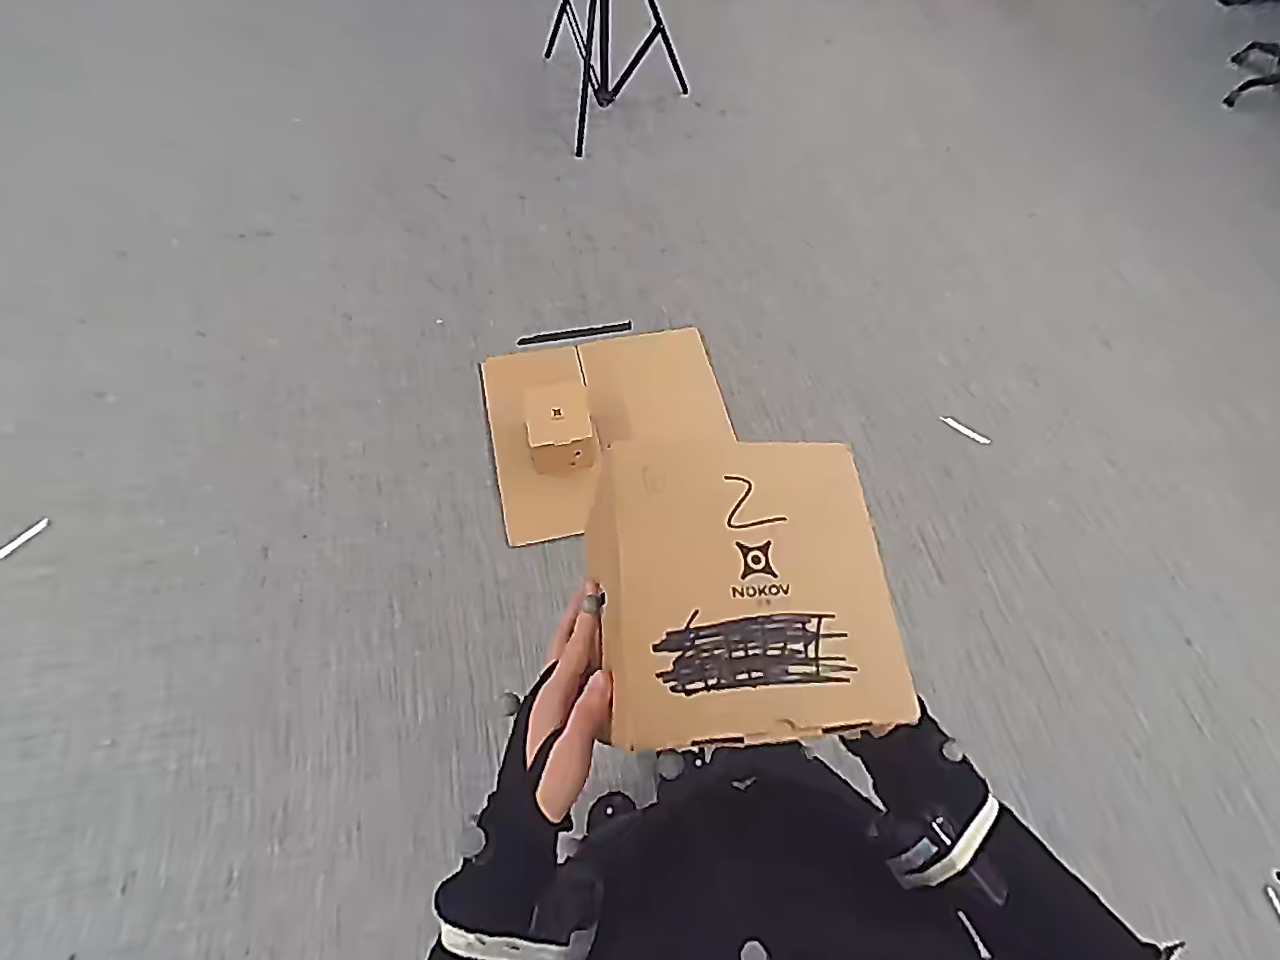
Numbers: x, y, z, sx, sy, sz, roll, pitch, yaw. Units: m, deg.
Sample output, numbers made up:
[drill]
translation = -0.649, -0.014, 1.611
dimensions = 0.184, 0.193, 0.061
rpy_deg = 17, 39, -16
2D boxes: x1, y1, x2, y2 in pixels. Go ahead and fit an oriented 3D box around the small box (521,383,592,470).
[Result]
[small box]
translation = -0.225, -0.140, 1.486
dimensions = 0.168, 0.176, 0.179
rpy_deg = -9, 68, -10
